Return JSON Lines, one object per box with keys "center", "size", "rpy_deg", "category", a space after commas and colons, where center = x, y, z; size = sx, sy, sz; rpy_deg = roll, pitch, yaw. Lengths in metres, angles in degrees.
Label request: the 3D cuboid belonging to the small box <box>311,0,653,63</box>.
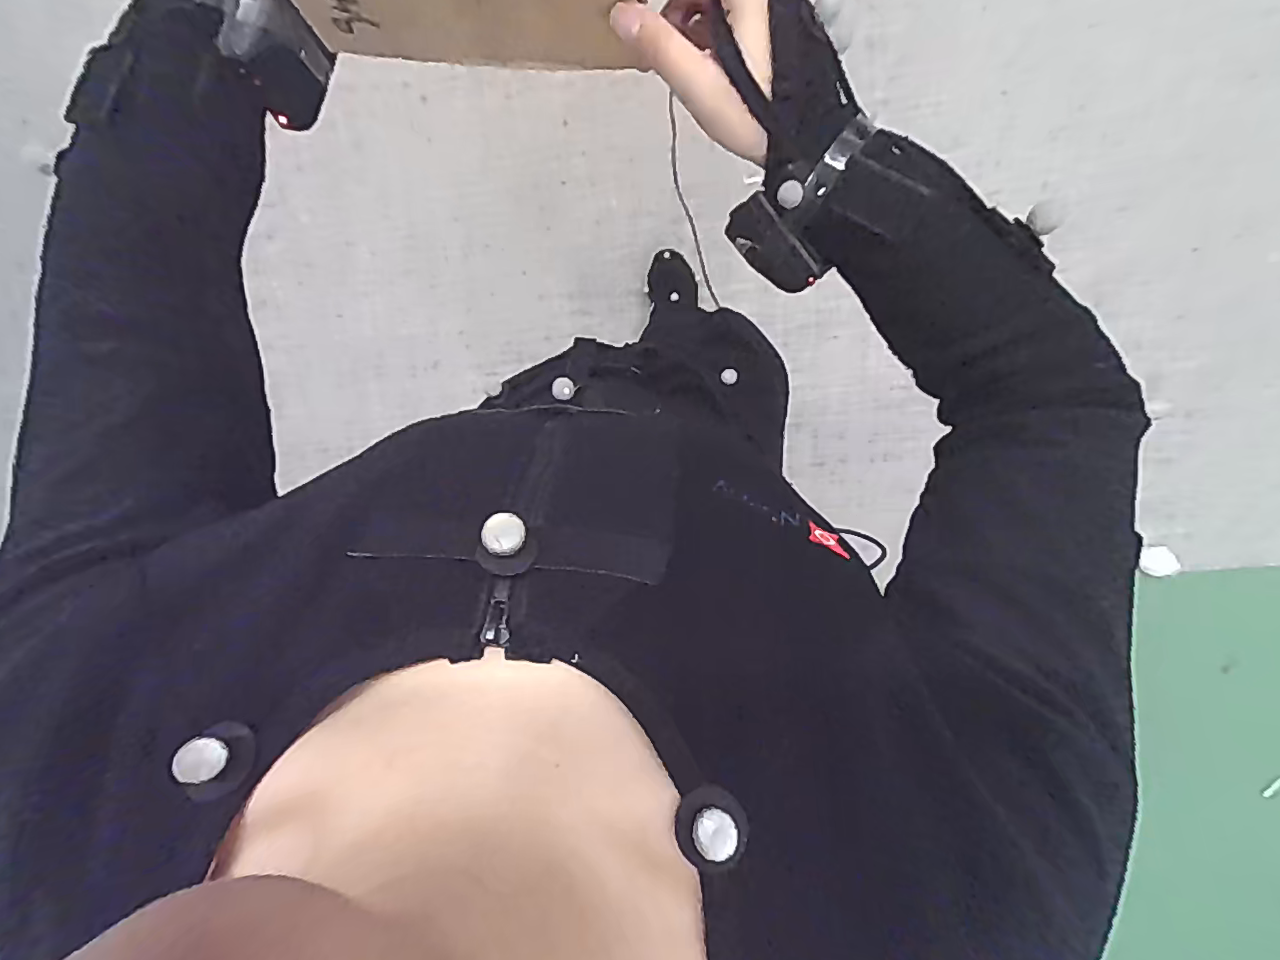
{"center": [-0.078, -0.321, 0.224], "size": [0.179, 0.168, 0.176], "rpy_deg": [3, 90, 0], "category": "small box"}
